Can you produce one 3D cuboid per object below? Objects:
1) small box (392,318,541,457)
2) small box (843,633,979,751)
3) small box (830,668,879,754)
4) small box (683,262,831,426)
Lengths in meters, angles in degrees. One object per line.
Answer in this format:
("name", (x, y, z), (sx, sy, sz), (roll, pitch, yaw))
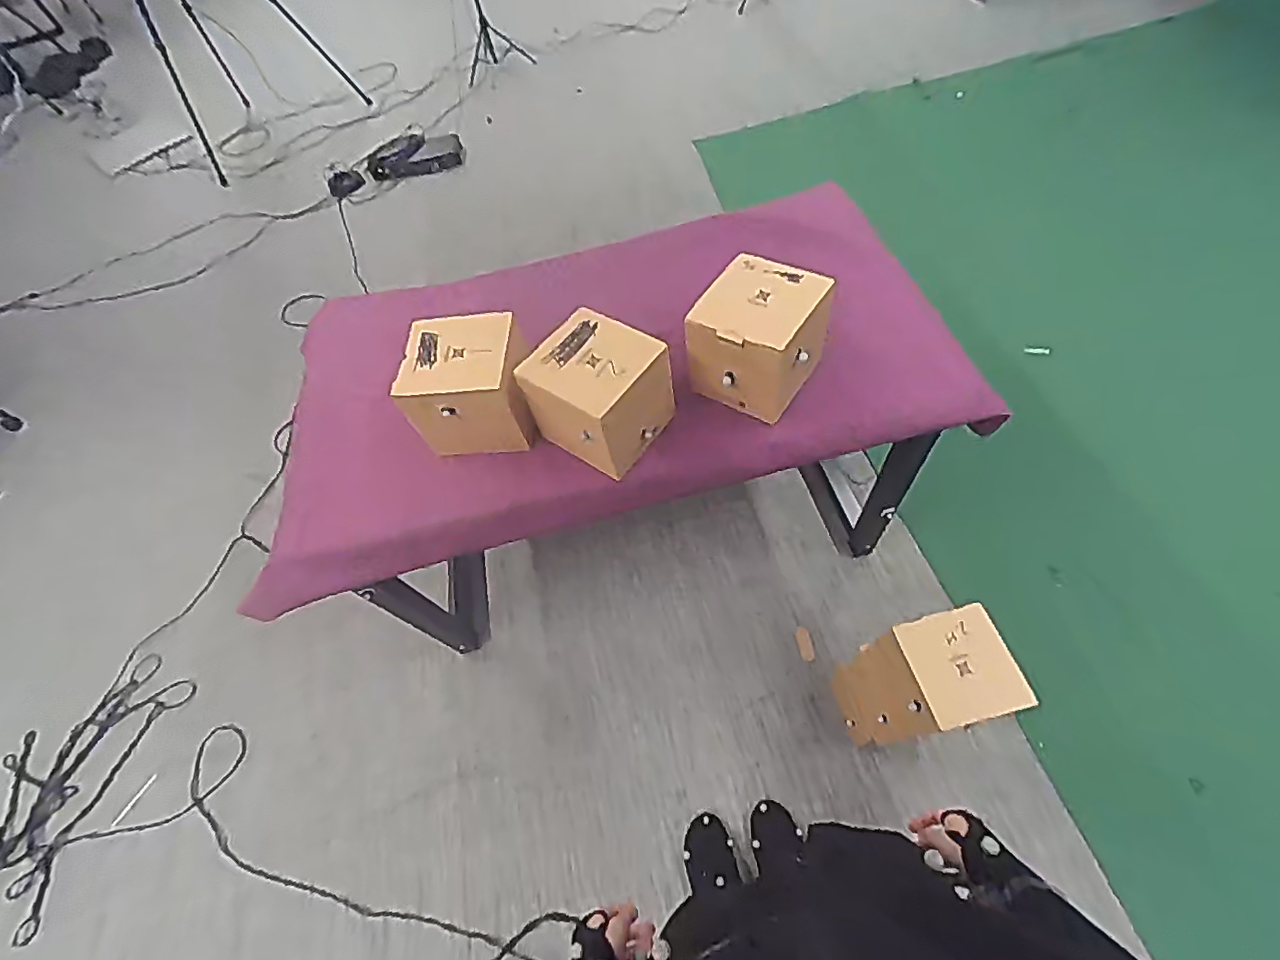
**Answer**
("small box", (-0.284, -0.150, 0.923), (0.179, 0.176, 0.168), (-3, 58, 6))
("small box", (0.540, 0.439, 1.111), (0.168, 0.176, 0.179), (-15, 59, -2))
("small box", (0.554, 0.522, 1.249), (0.179, 0.176, 0.168), (-13, 58, 0))
("small box", (0.192, -0.220, 0.895), (0.168, 0.176, 0.179), (29, 67, 24))
